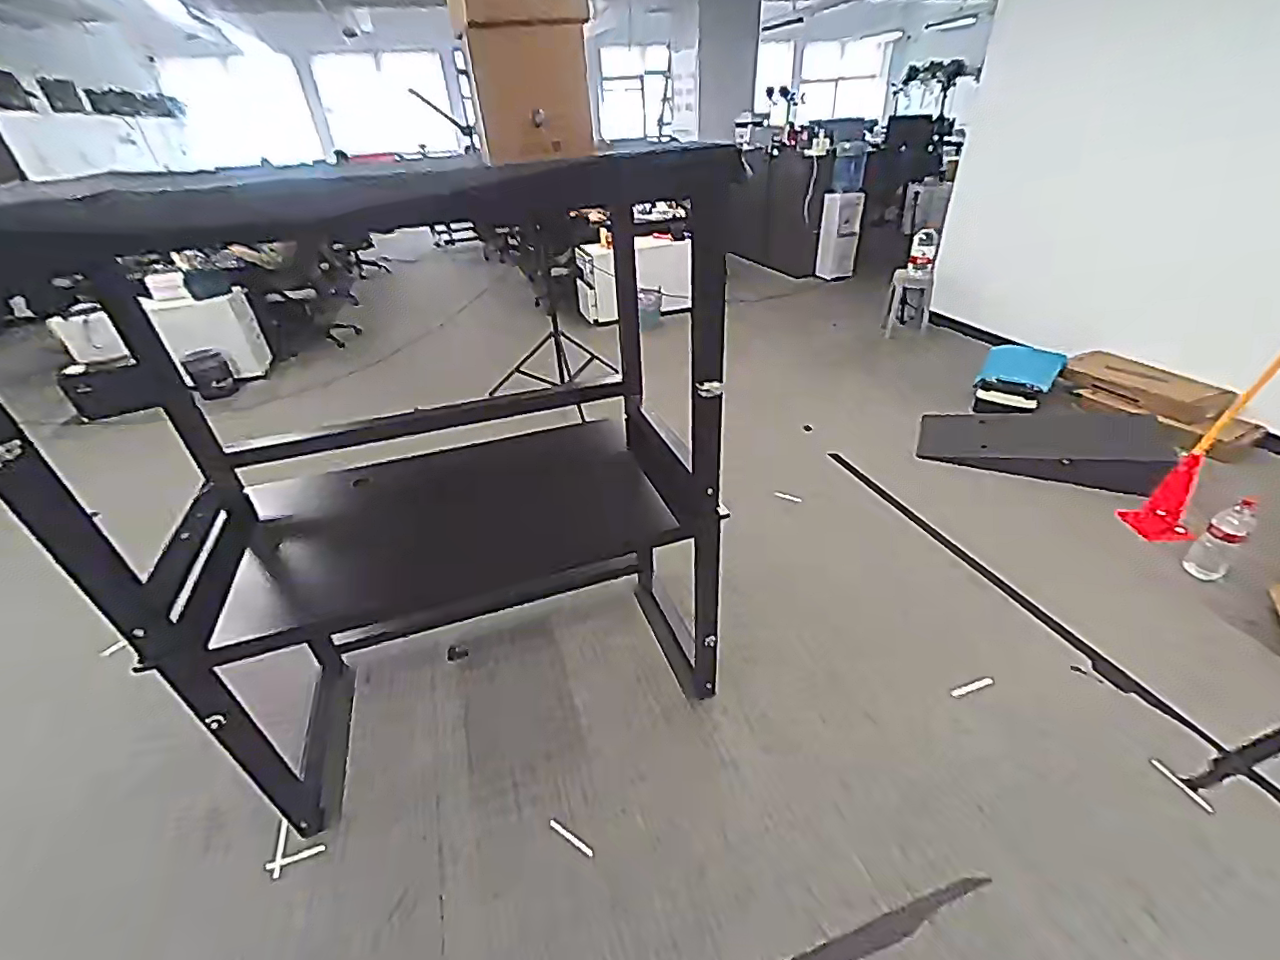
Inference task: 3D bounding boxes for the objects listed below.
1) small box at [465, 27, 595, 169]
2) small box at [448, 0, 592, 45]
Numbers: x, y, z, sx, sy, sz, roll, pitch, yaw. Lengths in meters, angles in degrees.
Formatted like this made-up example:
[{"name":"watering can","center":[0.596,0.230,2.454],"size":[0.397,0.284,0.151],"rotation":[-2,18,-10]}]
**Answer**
[{"name":"small box","center":[-0.176,-0.598,0.860],"size":[0.168,0.176,0.179],"rotation":[-14,34,-12]},{"name":"small box","center":[-0.181,-0.731,0.759],"size":[0.179,0.176,0.168],"rotation":[-15,34,-17]}]
